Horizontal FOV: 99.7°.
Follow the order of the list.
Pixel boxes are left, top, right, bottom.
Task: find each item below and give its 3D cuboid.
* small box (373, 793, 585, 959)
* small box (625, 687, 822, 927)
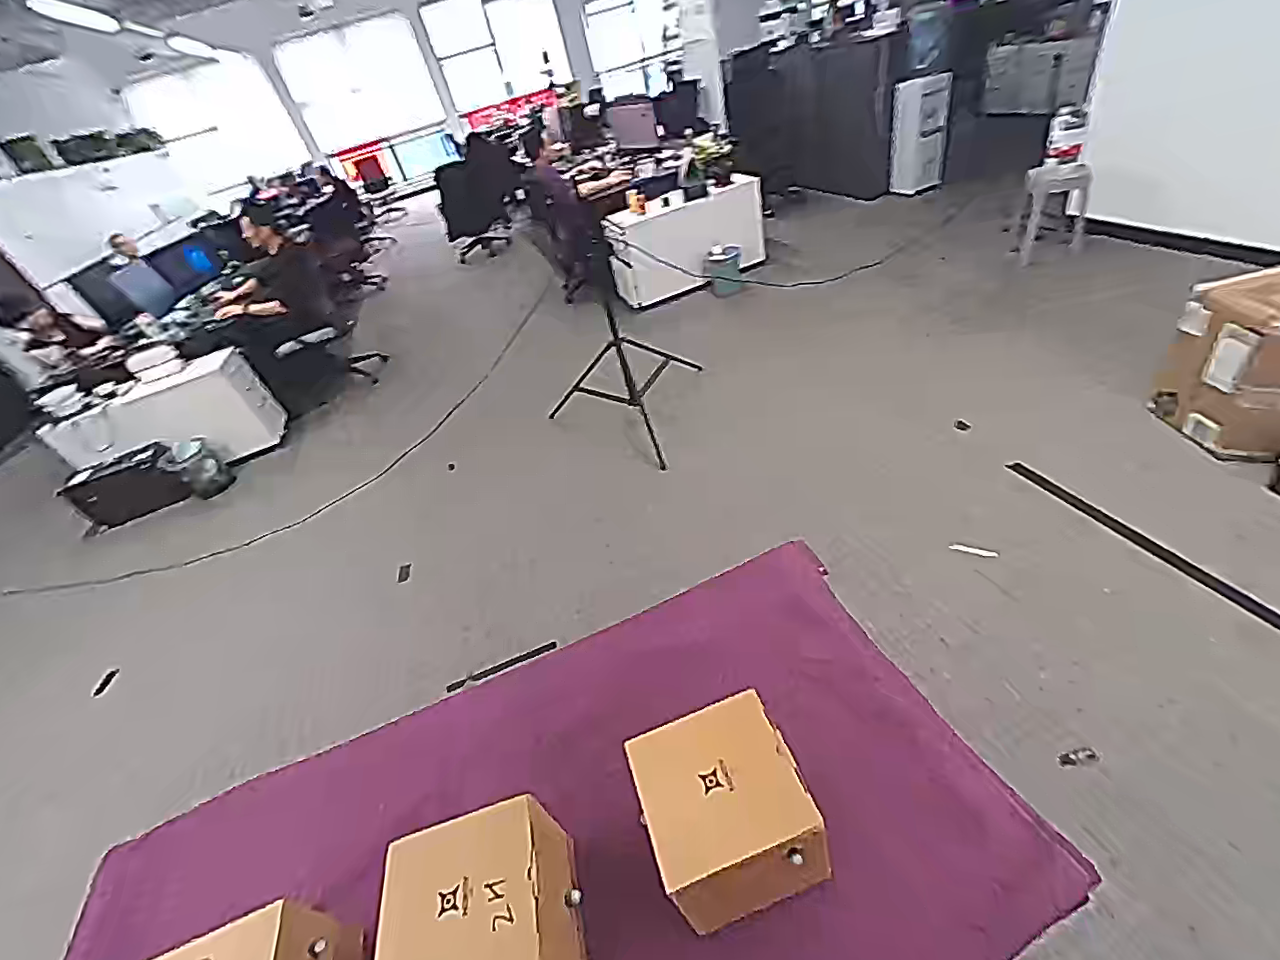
[{"bbox_3d":[-0.176,0.501,0.620,0.179,0.176,0.168,-18,38,-2],"label":"small box"},{"bbox_3d":[0.102,0.393,0.651,0.179,0.176,0.168,-21,37,-5],"label":"small box"}]
